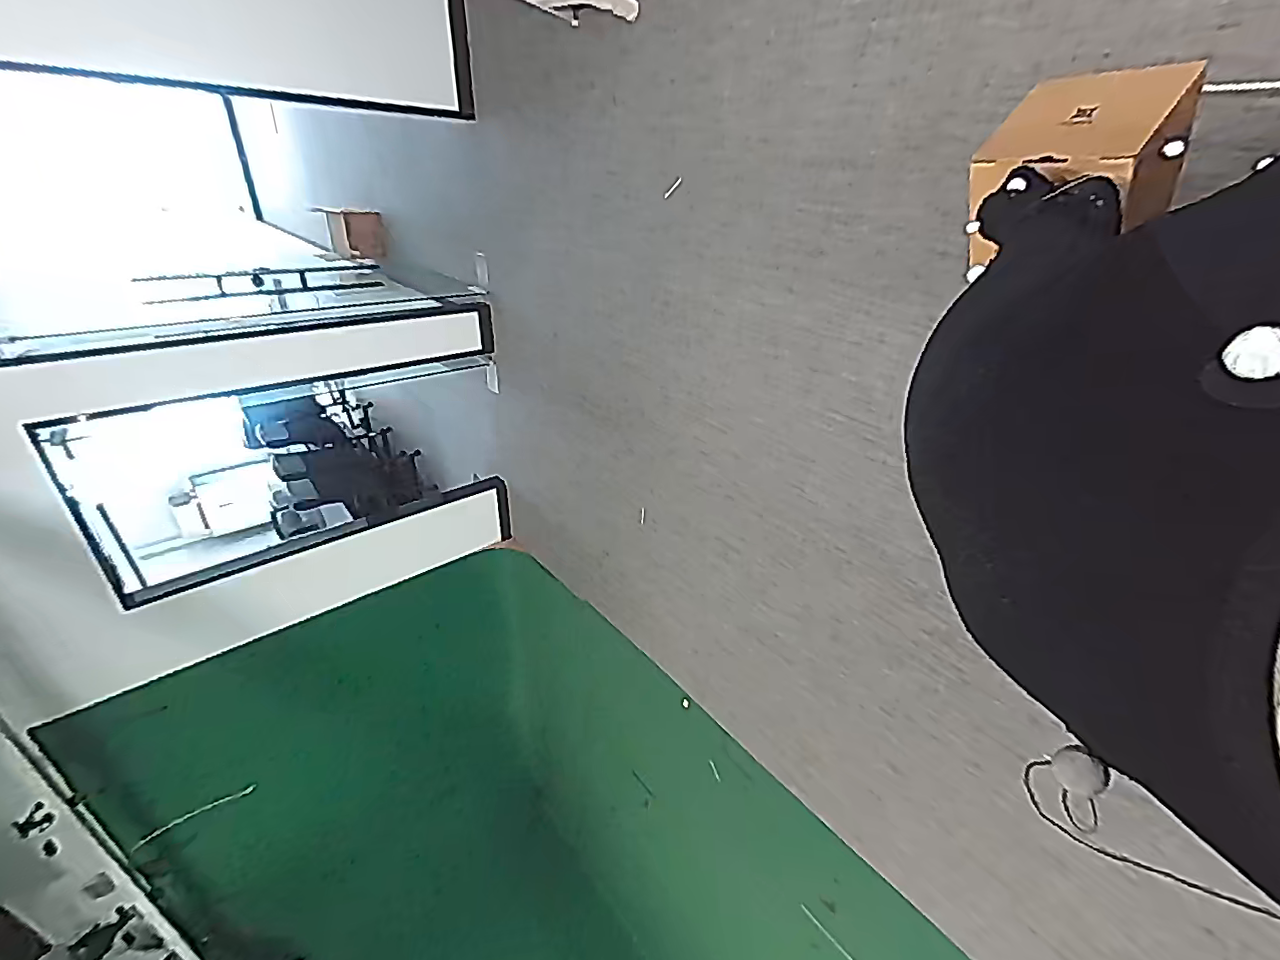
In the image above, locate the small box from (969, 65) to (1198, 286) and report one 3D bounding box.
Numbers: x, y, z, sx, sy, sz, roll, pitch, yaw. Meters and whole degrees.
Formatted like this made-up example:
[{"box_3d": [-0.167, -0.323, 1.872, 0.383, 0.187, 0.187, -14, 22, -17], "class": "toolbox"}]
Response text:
[{"box_3d": [0.548, -0.381, 0.692, 0.168, 0.179, 0.176, 30, 165, 44], "class": "small box"}]
